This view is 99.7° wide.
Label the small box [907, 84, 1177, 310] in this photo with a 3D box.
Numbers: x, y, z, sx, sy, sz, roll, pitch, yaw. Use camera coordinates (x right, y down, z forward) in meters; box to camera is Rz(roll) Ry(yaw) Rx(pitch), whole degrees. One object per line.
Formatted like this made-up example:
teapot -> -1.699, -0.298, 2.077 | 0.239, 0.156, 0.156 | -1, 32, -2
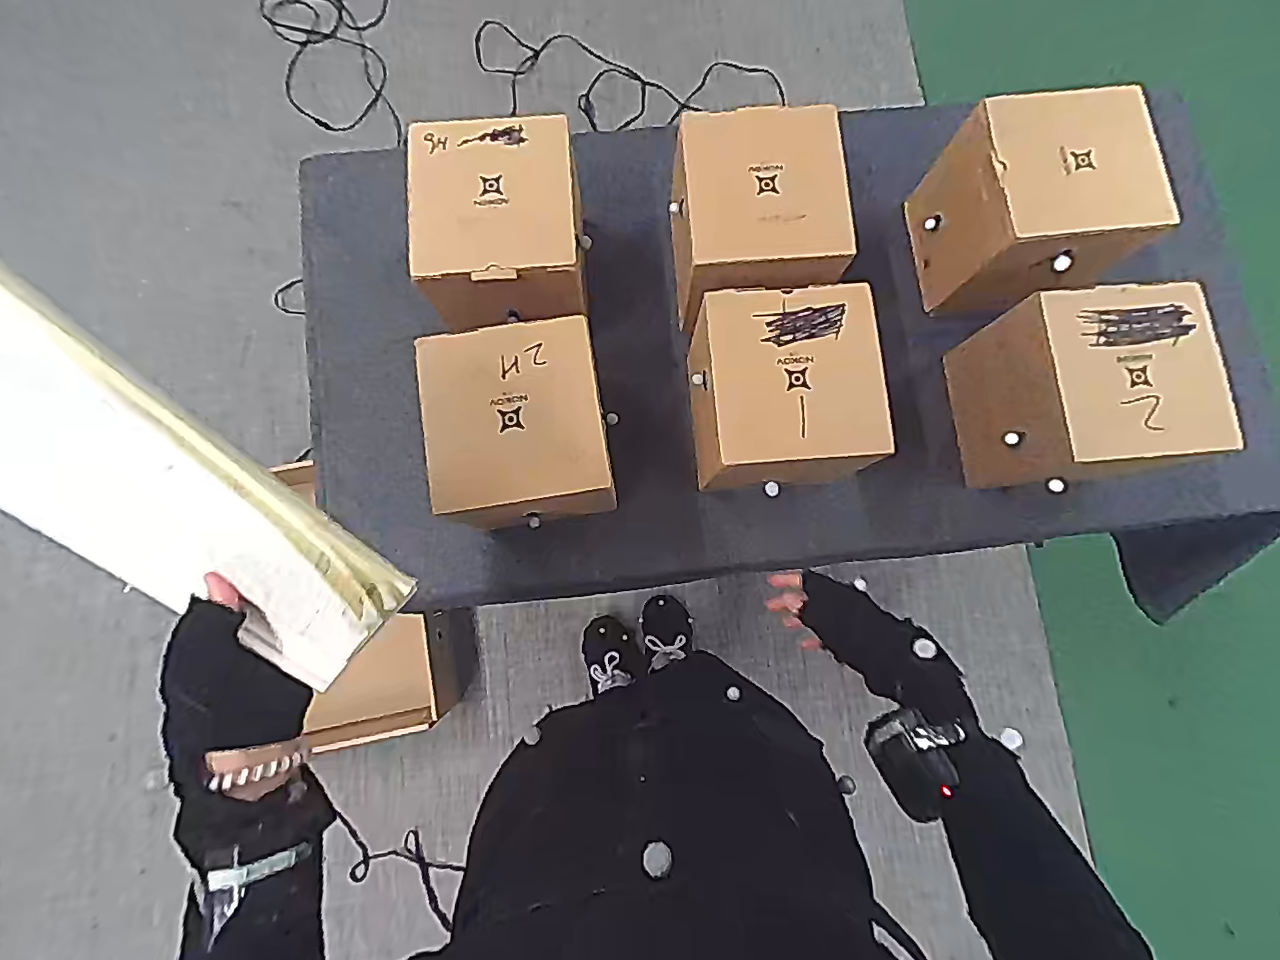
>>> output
small box -> 0.452, -0.319, 0.638 | 0.179, 0.176, 0.168 | -6, 80, -1
